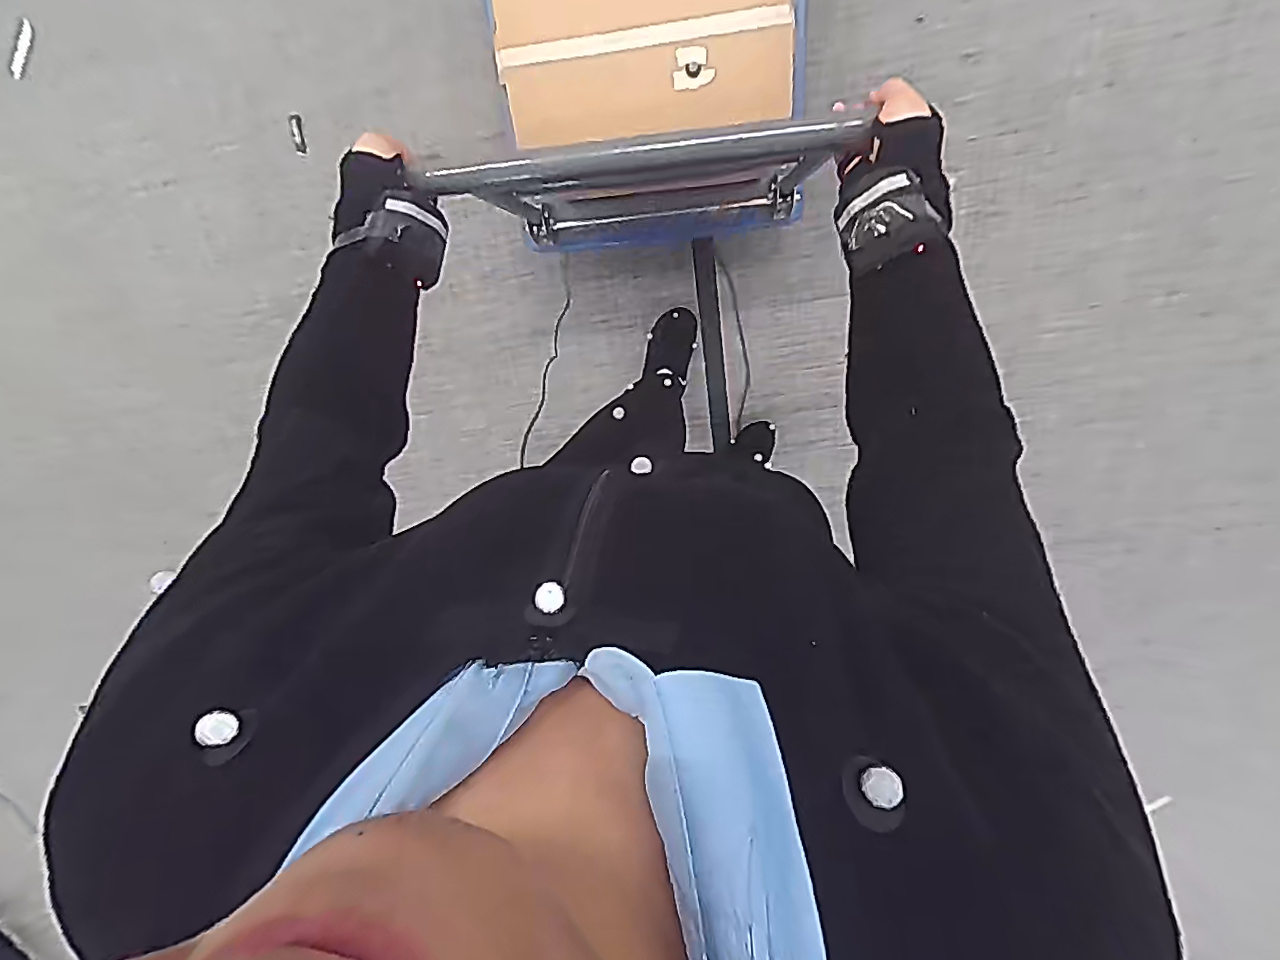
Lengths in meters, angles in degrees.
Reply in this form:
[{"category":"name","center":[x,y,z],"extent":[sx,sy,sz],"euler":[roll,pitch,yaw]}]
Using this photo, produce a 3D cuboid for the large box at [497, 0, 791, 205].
[{"category":"large box","center":[0.015,-0.664,0.894],"extent":[0.408,0.320,0.320],"euler":[-4,112,5]}]
